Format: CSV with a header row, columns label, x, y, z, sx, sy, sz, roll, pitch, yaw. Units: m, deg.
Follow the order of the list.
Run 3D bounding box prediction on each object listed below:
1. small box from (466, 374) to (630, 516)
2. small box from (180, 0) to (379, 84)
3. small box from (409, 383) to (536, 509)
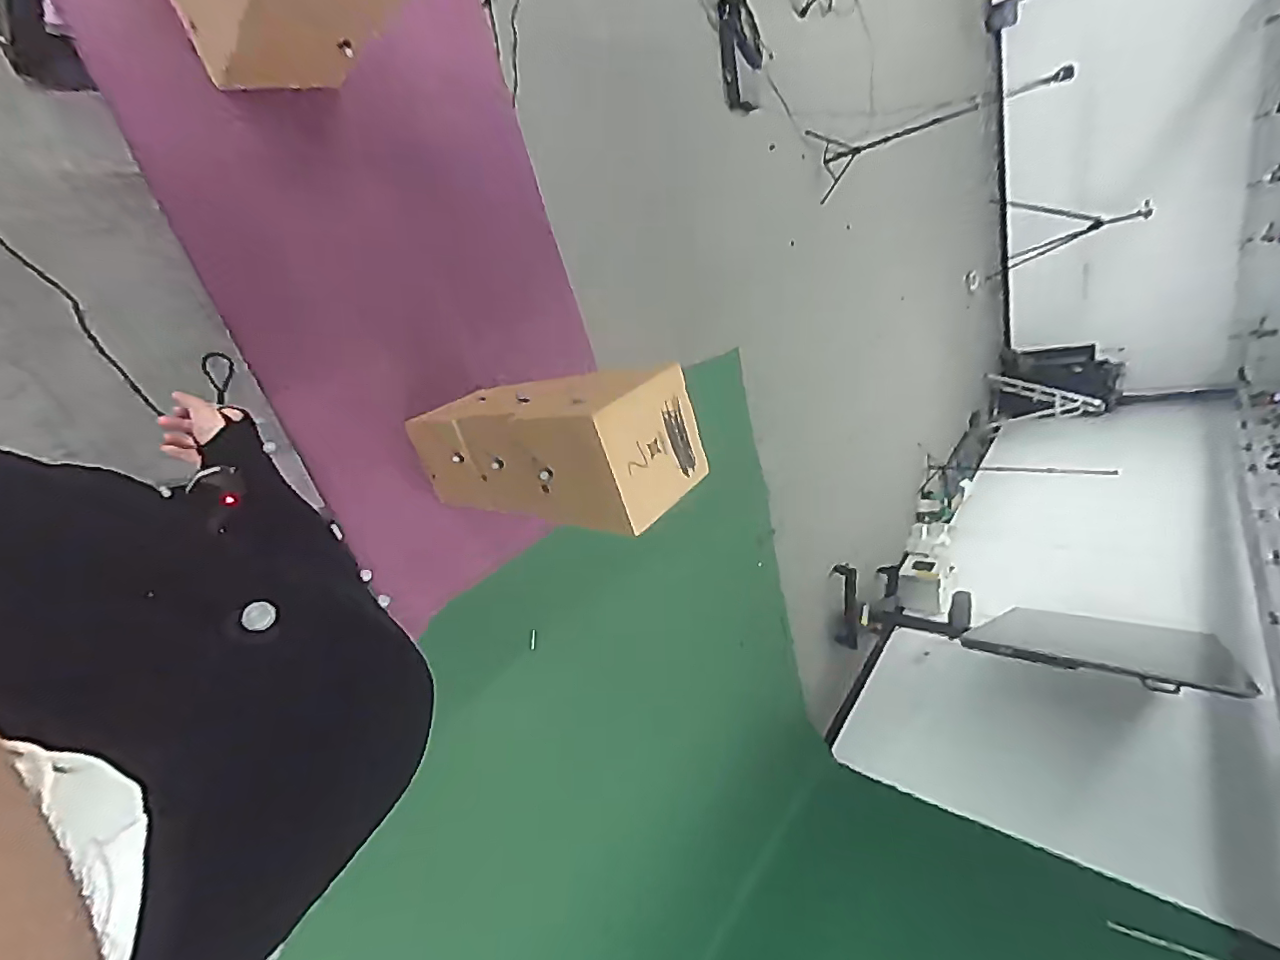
label,x,y,z,sx,sy,sz,roll,pitch,yaw
small box,-0.150,-0.057,0.855,0.179,0.176,0.168,-35,118,-41
small box,-0.483,-0.640,0.696,0.179,0.176,0.168,-38,120,-39
small box,-0.272,-0.064,0.966,0.179,0.176,0.168,-37,118,-41
